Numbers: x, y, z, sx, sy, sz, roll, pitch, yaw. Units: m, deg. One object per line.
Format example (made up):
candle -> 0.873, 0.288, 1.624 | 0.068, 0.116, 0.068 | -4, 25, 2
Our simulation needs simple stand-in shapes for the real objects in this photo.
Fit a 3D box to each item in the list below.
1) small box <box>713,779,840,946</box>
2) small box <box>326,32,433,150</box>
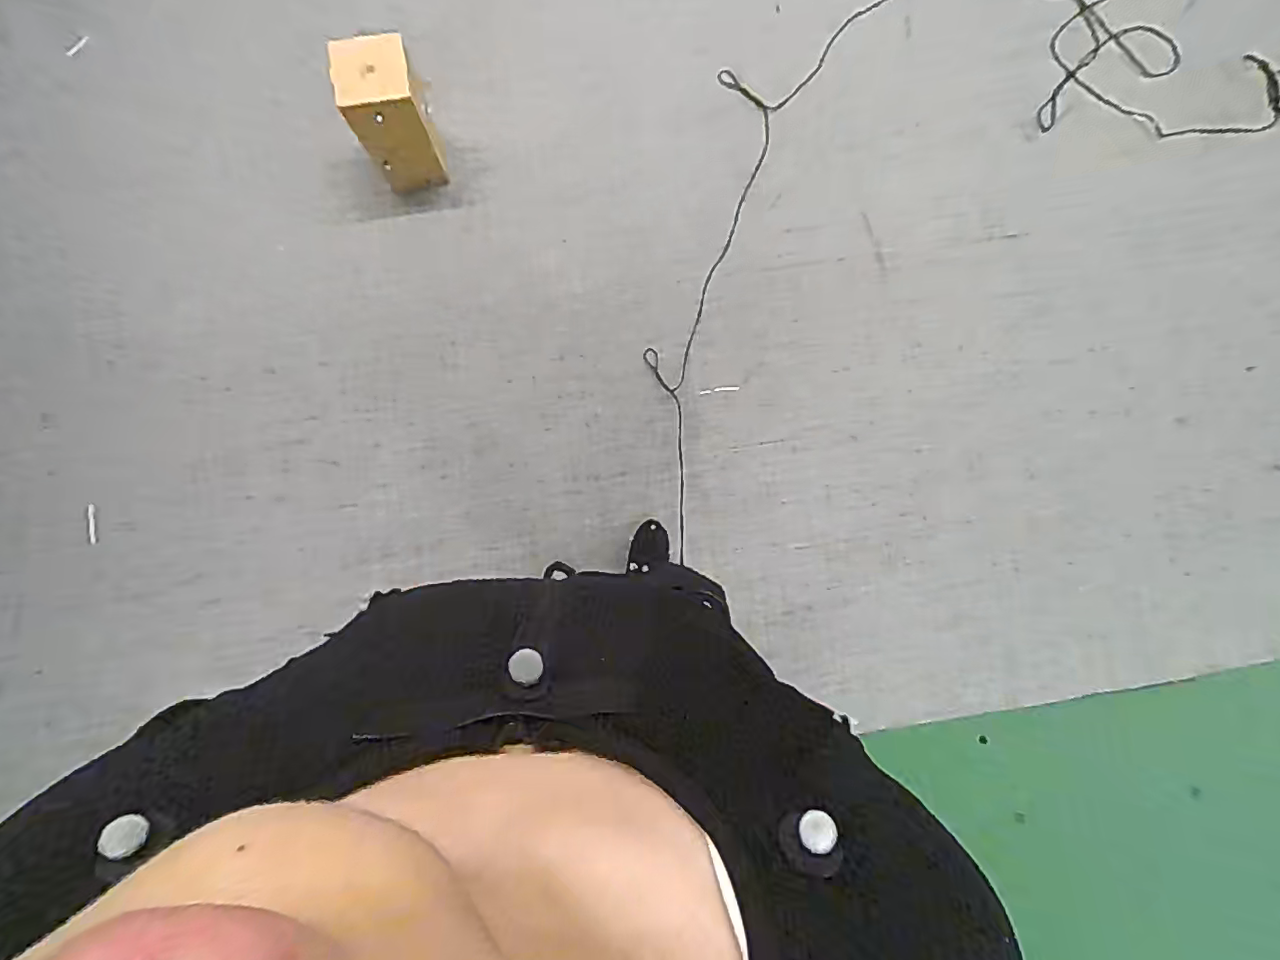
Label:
small box -> 0.239, 0.682, 0.988 | 0.168, 0.176, 0.179 | 14, 85, 0
small box -> -0.639, -0.954, 1.342 | 0.179, 0.176, 0.168 | -10, 86, -4
